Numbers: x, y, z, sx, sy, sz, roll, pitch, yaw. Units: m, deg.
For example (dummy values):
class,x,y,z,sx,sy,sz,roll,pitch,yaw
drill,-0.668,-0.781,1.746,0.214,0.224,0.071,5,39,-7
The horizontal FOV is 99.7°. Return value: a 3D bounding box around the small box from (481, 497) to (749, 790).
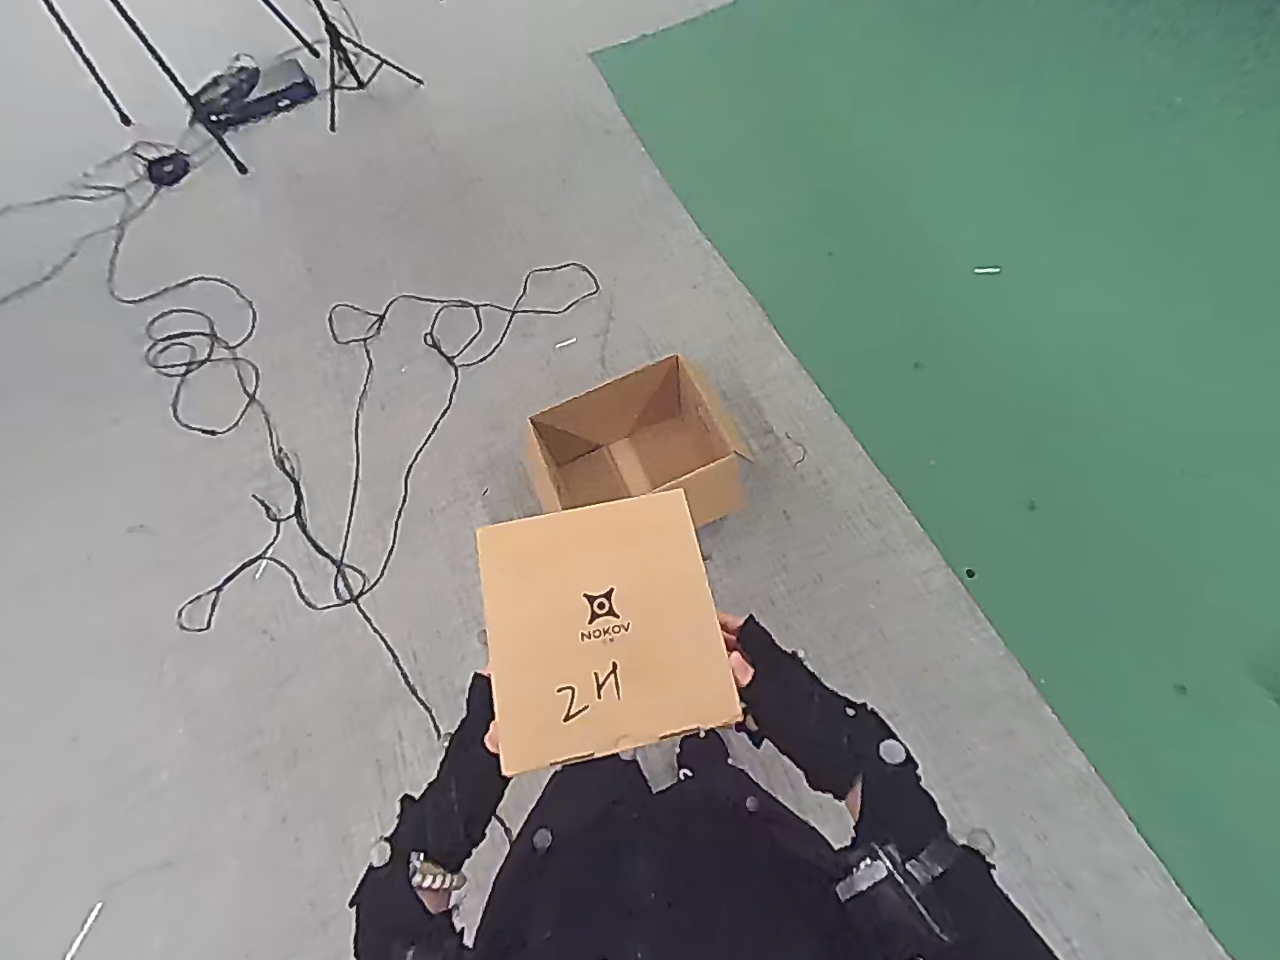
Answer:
class,x,y,z,sx,sy,sz,roll,pitch,yaw
small box,-0.026,0.135,0.452,0.168,0.176,0.179,-11,68,-6
